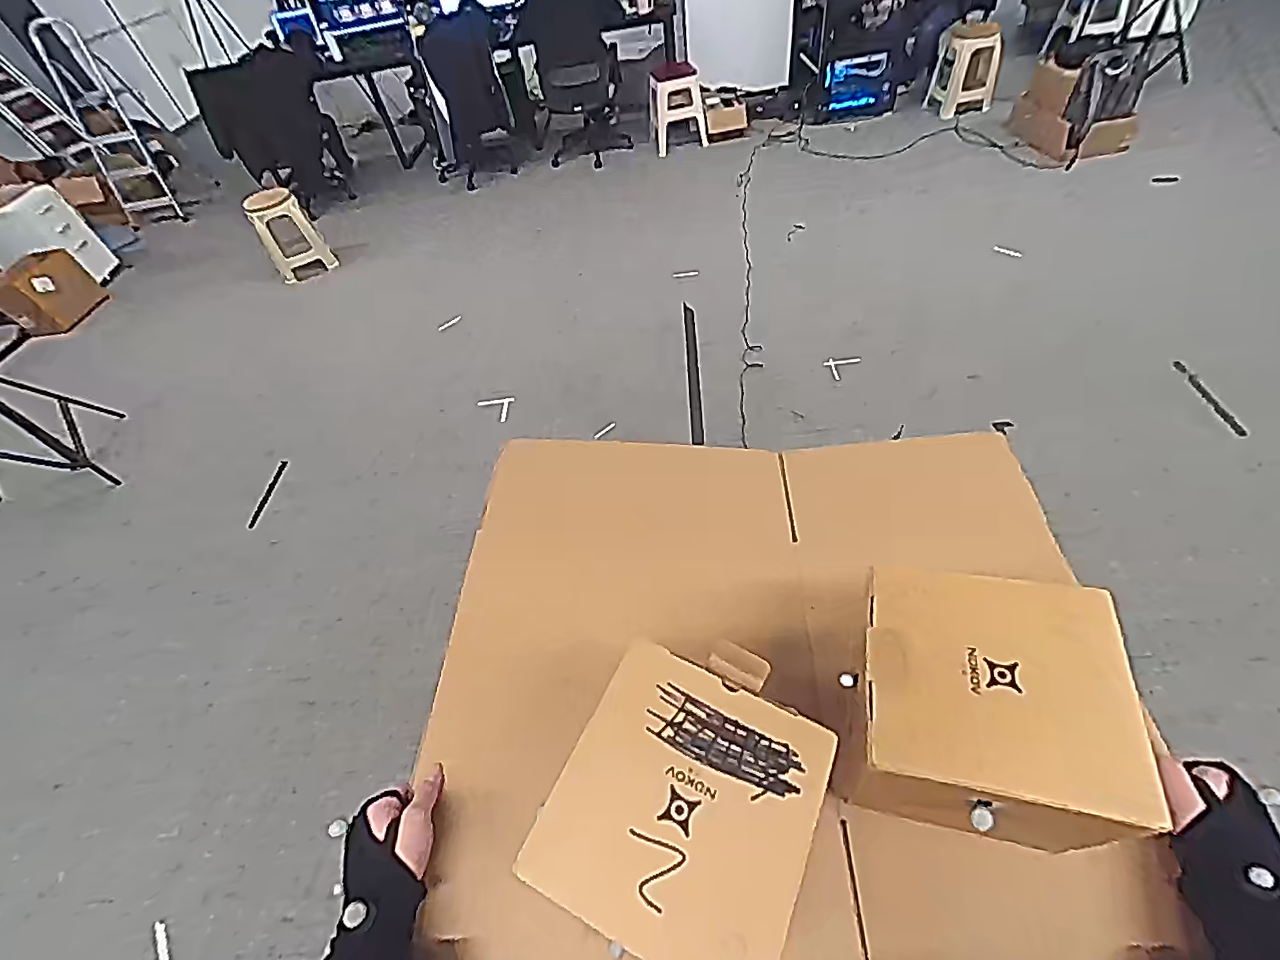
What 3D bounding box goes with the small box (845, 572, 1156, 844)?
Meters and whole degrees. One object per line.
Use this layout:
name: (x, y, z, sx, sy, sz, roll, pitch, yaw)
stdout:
small box: (0.284, 0.202, 0.476, 0.179, 0.176, 0.168, 4, 53, 18)
